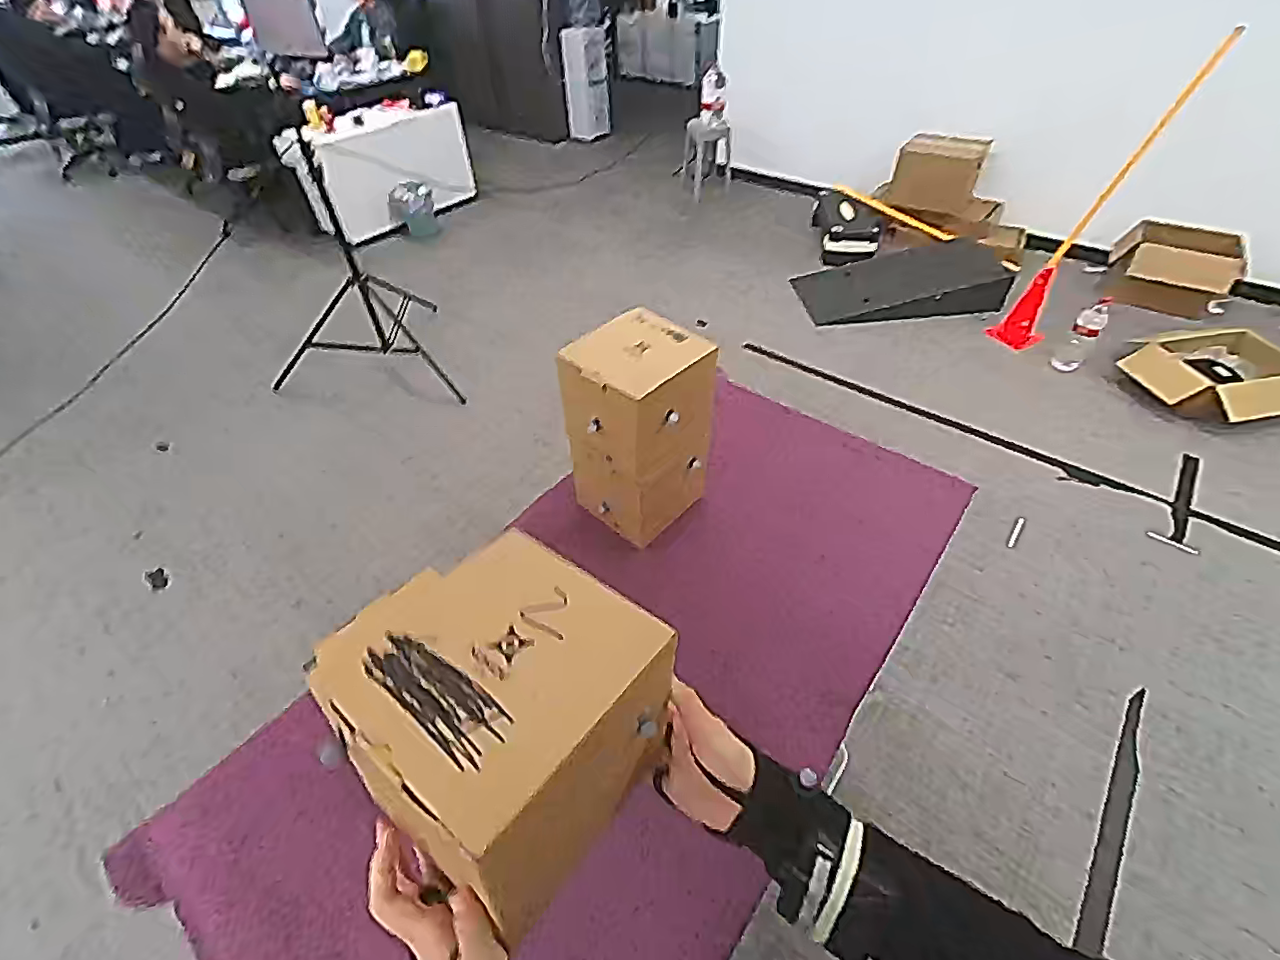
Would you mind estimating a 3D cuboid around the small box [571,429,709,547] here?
[{"bbox_3d":[0.000,-0.018,0.959,0.168,0.176,0.179,33,57,28],"label":"small box"}]

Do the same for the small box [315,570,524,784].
[{"bbox_3d":[-0.277,0.260,0.709,0.179,0.176,0.168,36,59,28],"label":"small box"}]

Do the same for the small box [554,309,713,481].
[{"bbox_3d":[-0.006,-0.130,0.839,0.168,0.176,0.179,35,58,28],"label":"small box"}]
